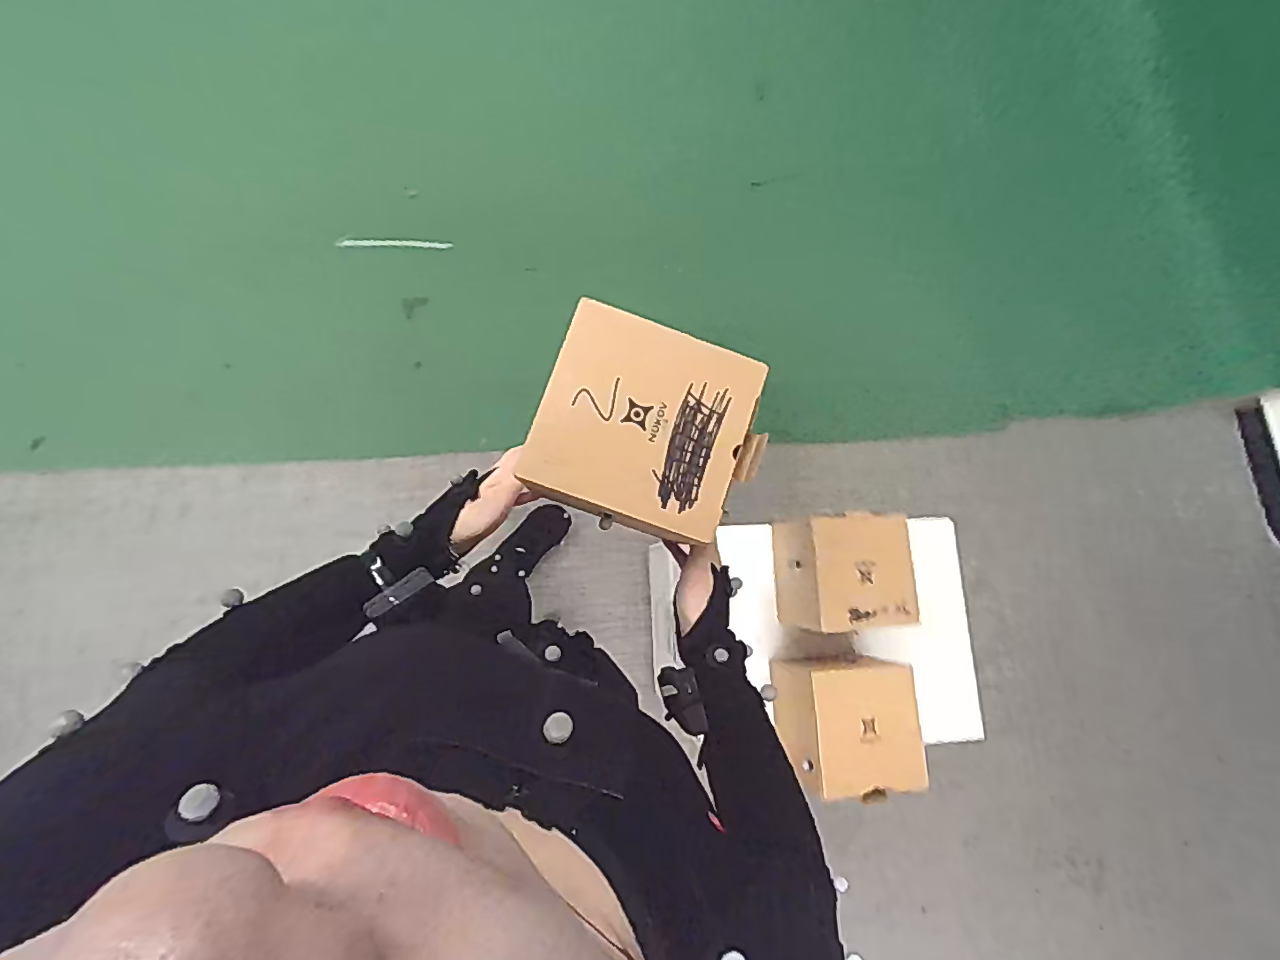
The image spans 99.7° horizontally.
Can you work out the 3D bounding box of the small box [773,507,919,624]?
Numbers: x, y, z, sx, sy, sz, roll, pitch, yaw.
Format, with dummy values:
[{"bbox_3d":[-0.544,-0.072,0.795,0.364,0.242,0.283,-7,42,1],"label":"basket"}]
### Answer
[{"bbox_3d":[0.334,0.144,0.910,0.168,0.176,0.179,-1,81,-8],"label":"small box"}]
